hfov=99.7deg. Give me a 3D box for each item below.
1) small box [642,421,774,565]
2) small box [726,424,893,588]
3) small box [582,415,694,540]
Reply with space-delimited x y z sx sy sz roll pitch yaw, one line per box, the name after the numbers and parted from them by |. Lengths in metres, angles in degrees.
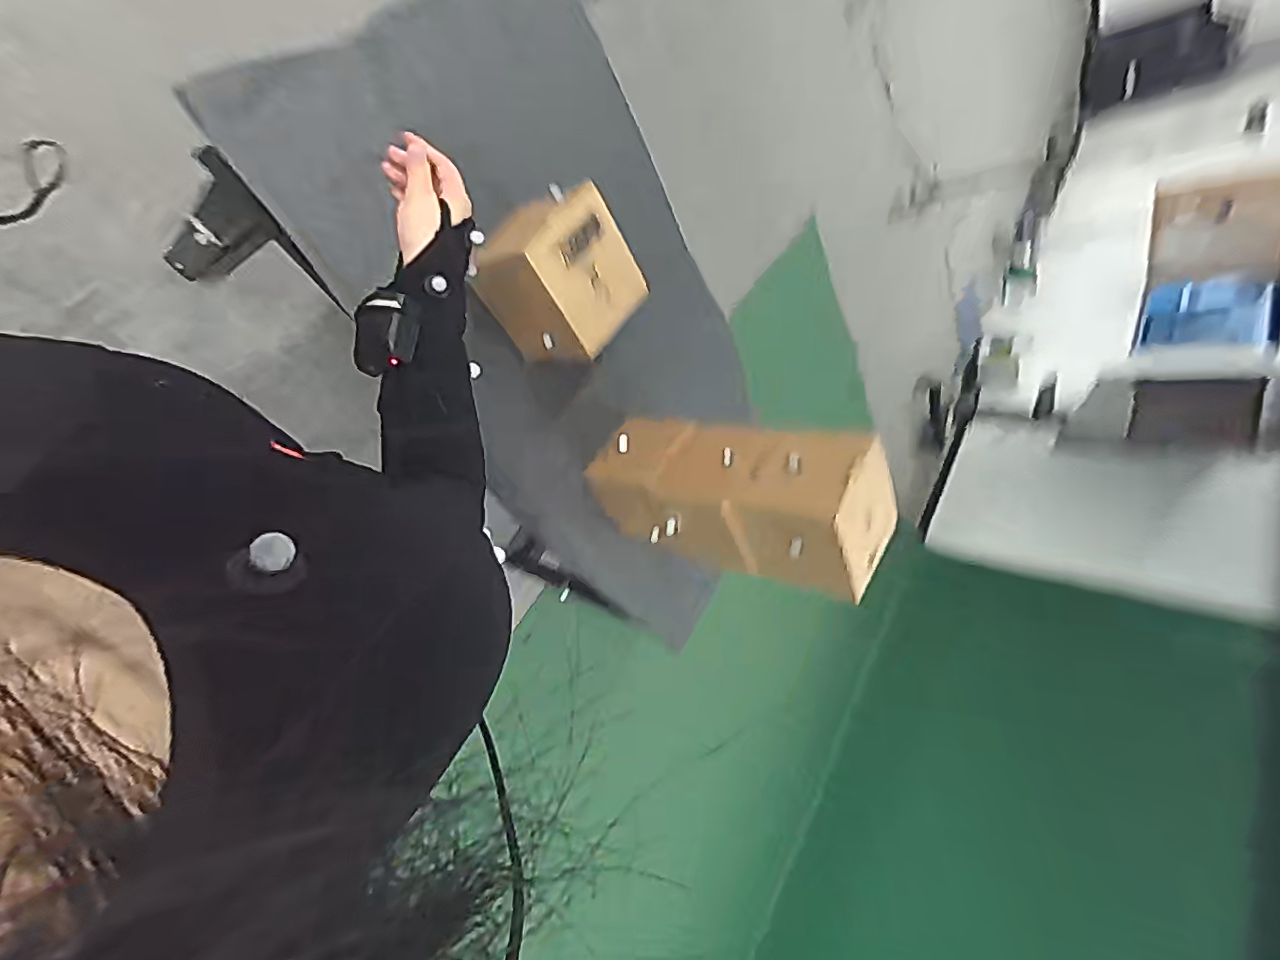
0.135 0.013 0.923 0.179 0.176 0.168 -51 128 -26 | small box
0.254 0.032 0.812 0.168 0.176 0.179 -50 127 -28 | small box
0.023 -0.012 1.038 0.168 0.176 0.179 -53 130 -26 | small box
